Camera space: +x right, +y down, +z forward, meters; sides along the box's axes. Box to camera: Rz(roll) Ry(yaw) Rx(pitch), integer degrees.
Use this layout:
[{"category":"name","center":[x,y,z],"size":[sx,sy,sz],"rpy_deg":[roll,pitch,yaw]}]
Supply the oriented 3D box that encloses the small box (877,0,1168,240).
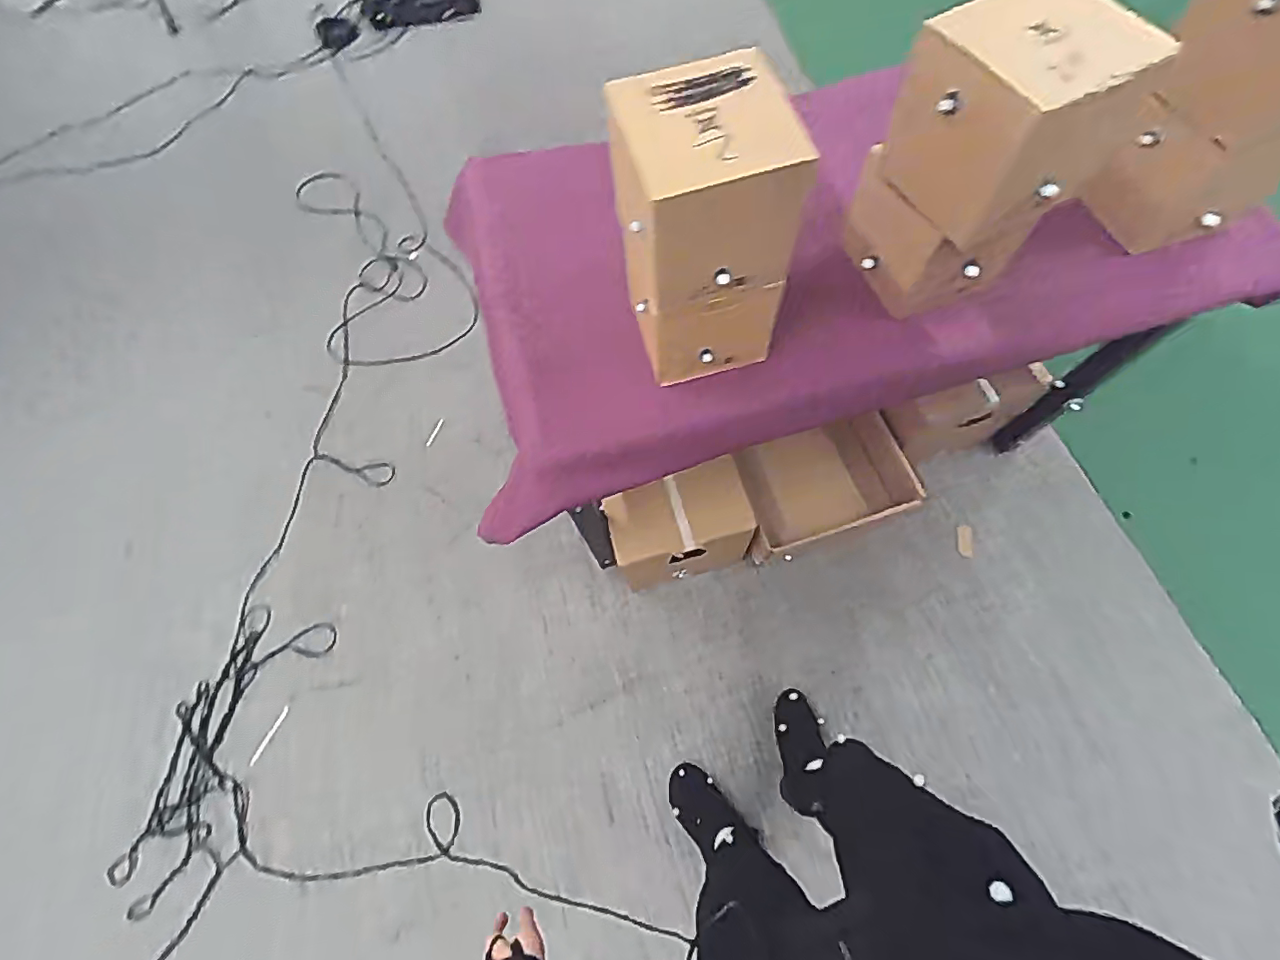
[{"category":"small box","center":[0.406,-0.417,0.617],"size":[0.168,0.176,0.179],"rpy_deg":[-27,68,-5]}]

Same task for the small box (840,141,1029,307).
[{"category":"small box","center":[0.418,-0.377,0.779],"size":[0.168,0.176,0.179],"rpy_deg":[-21,67,-4]}]

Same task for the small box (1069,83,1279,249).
[{"category":"small box","center":[0.787,-0.476,0.788],"size":[0.168,0.176,0.179],"rpy_deg":[-17,67,-2]}]

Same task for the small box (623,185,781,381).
[{"category":"small box","center":[0.079,-0.271,0.766],"size":[0.168,0.176,0.179],"rpy_deg":[-16,68,-2]}]
